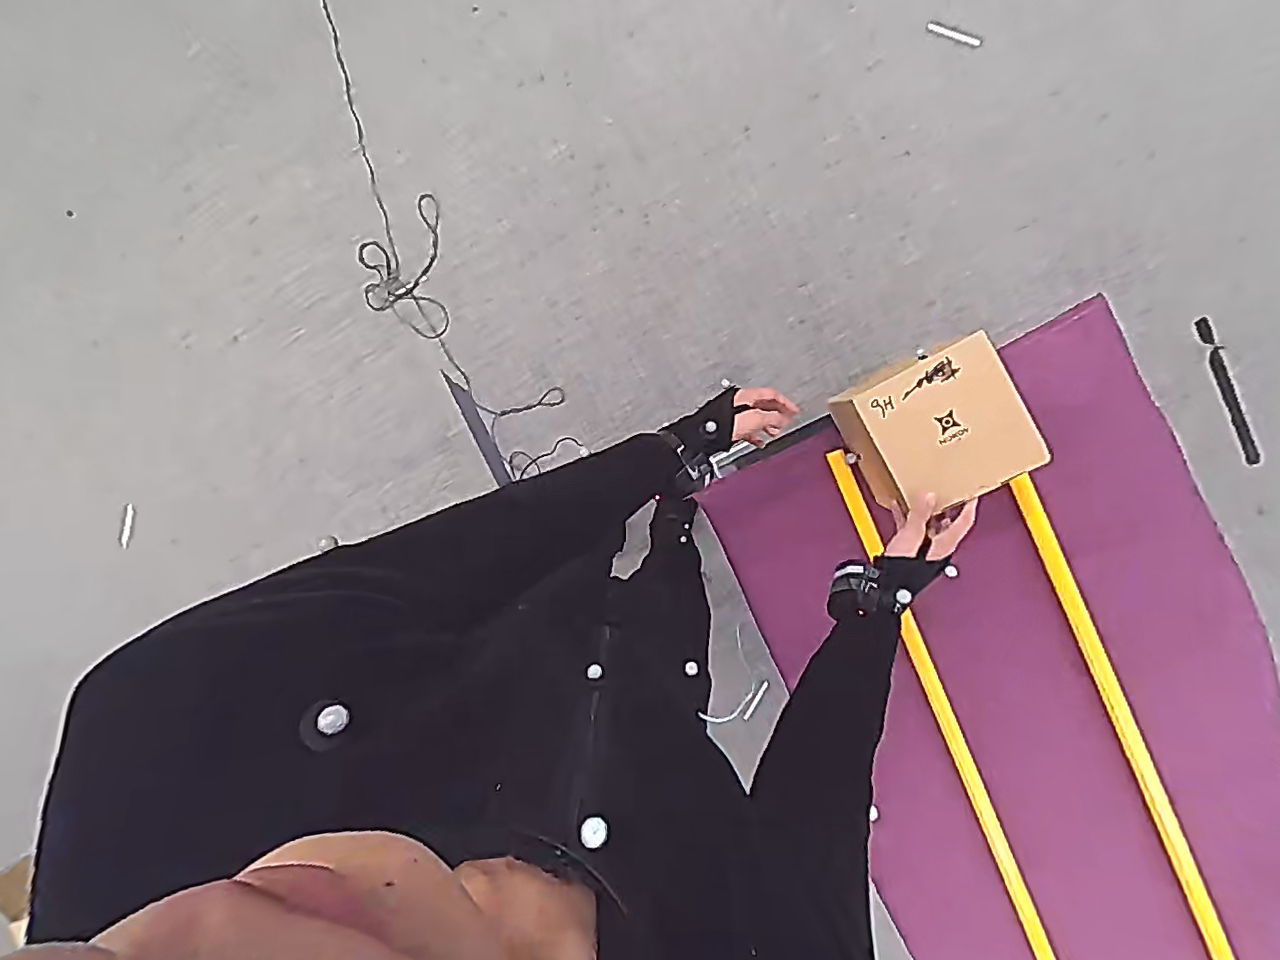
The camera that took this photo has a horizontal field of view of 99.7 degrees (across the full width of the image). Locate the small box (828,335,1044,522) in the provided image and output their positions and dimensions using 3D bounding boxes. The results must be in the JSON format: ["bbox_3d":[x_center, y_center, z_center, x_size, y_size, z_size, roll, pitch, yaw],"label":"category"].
[{"bbox_3d":[0.375,-0.069,0.719,0.168,0.176,0.179,-28,93,10],"label":"small box"}]
